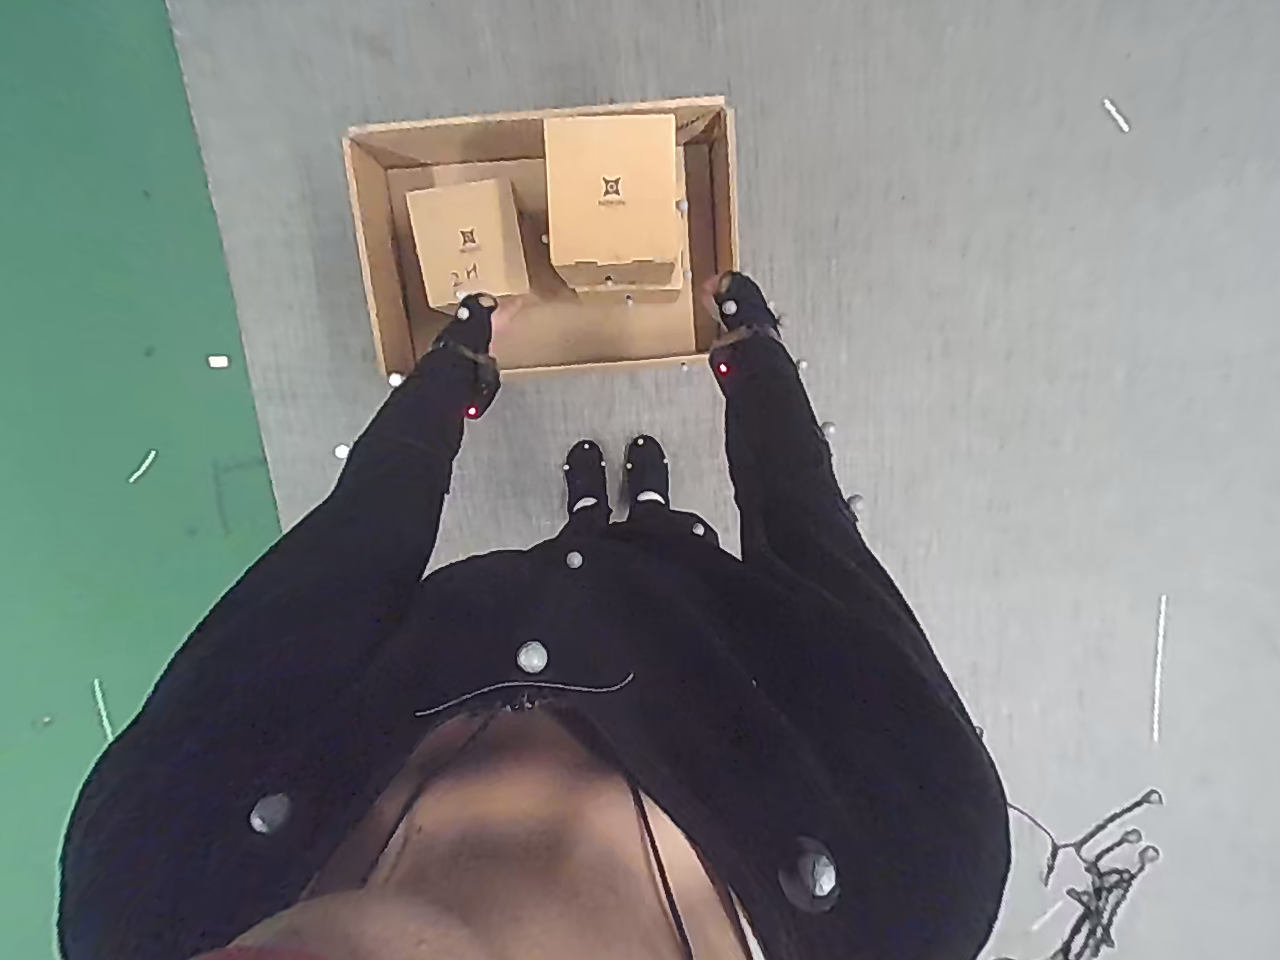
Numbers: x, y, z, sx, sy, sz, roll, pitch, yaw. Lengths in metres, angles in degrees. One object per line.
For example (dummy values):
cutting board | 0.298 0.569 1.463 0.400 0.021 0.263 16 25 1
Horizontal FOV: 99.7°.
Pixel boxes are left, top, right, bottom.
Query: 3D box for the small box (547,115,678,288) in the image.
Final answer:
small box | -0.035 -0.379 0.762 0.168 0.176 0.179 -2 100 0
